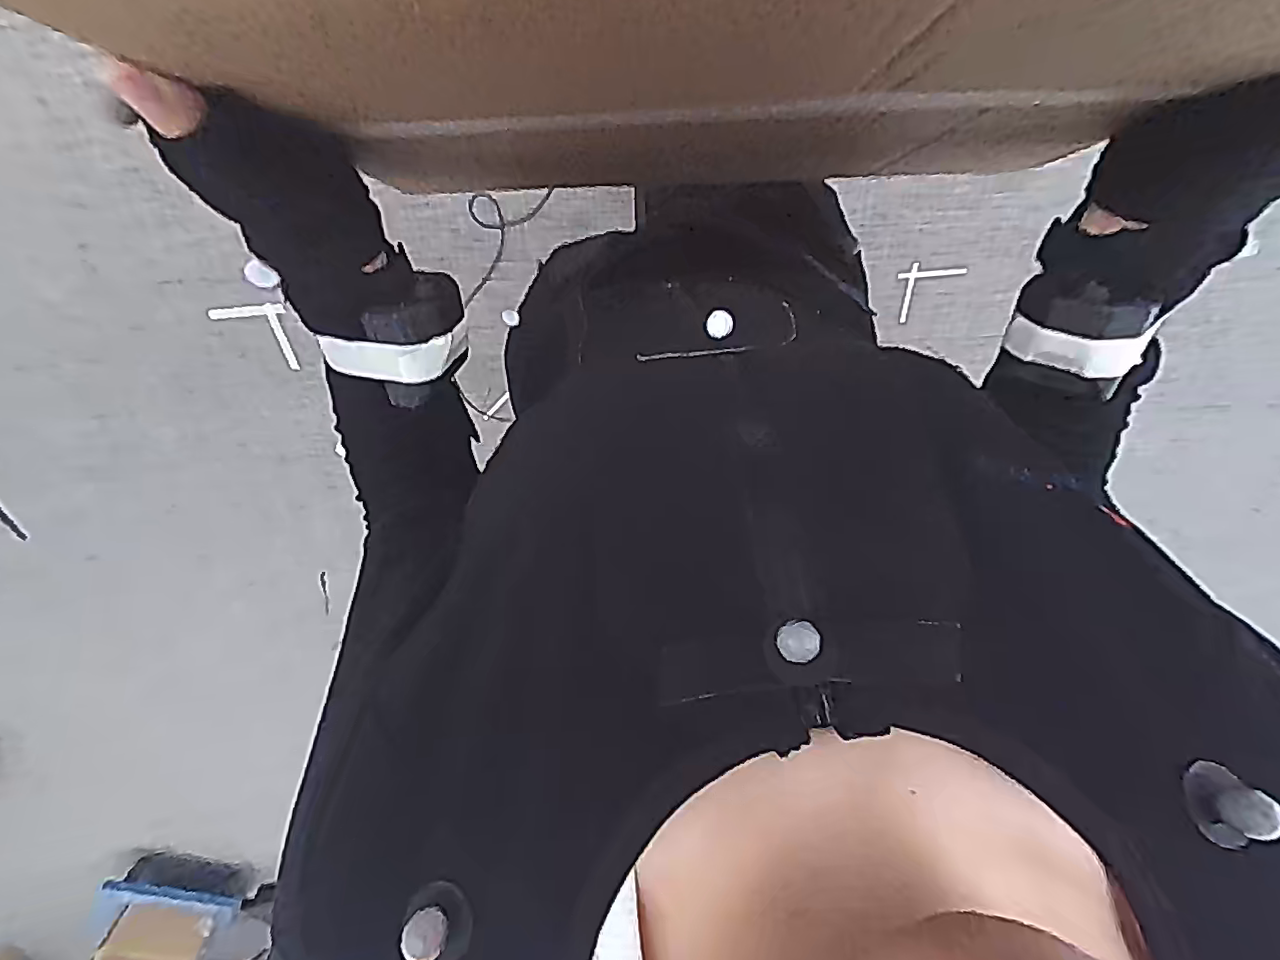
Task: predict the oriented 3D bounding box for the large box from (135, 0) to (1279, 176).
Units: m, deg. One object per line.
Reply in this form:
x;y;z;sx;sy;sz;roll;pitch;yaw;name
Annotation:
0.044;-0.309;0.172;0.408;0.320;0.320;-2;109;0;large box
